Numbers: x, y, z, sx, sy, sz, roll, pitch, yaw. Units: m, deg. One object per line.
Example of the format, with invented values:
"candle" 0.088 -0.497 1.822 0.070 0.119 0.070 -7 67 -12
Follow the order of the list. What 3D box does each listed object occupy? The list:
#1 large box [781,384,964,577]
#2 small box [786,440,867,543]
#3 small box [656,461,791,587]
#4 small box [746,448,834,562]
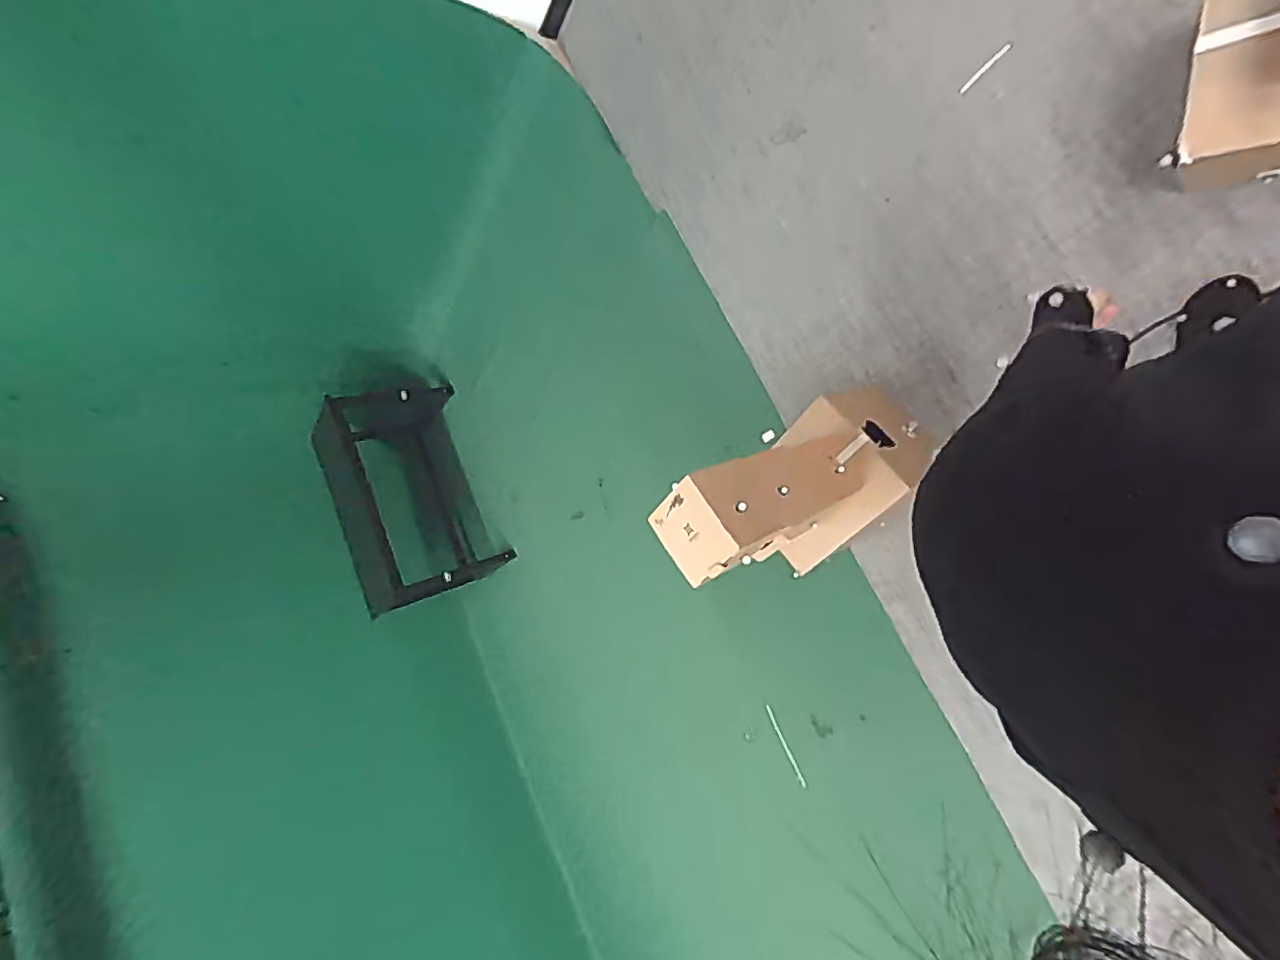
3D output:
"large box" 0.580 -0.005 1.494 0.320 0.320 0.408 55 137 23
"small box" 0.412 0.026 1.316 0.168 0.176 0.179 56 135 19
"small box" 0.172 0.083 1.100 0.179 0.176 0.168 56 135 18
"small box" 0.295 0.050 1.204 0.179 0.176 0.168 58 136 18
